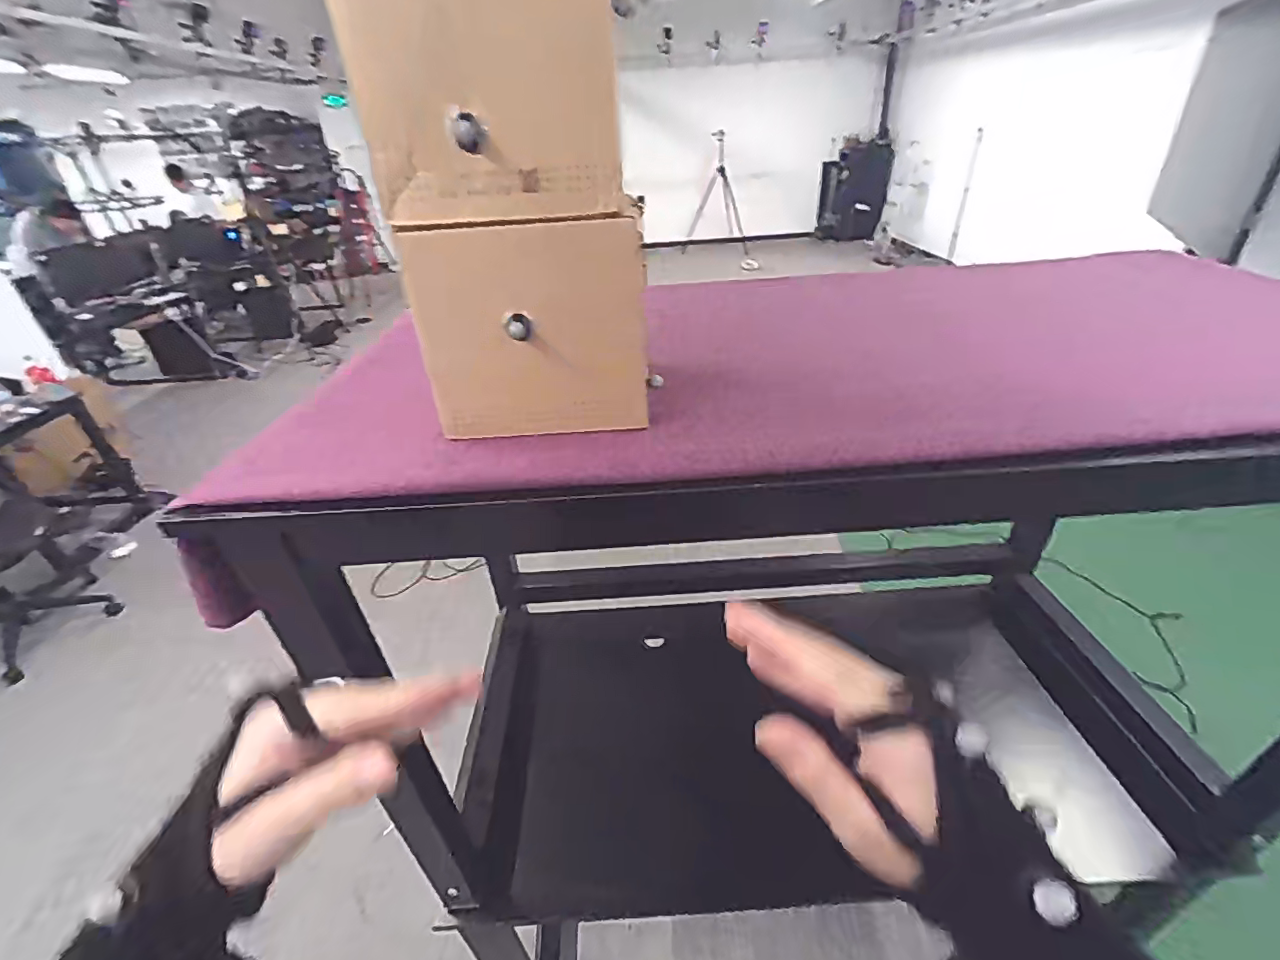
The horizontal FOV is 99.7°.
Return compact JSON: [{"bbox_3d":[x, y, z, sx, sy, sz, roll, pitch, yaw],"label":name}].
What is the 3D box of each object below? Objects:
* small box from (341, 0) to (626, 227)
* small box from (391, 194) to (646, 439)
[{"bbox_3d":[-0.099,-0.291,0.407,0.168,0.176,0.179,-4,32,1],"label":"small box"},{"bbox_3d":[-0.085,-0.149,0.485,0.179,0.176,0.168,-4,32,1],"label":"small box"}]
